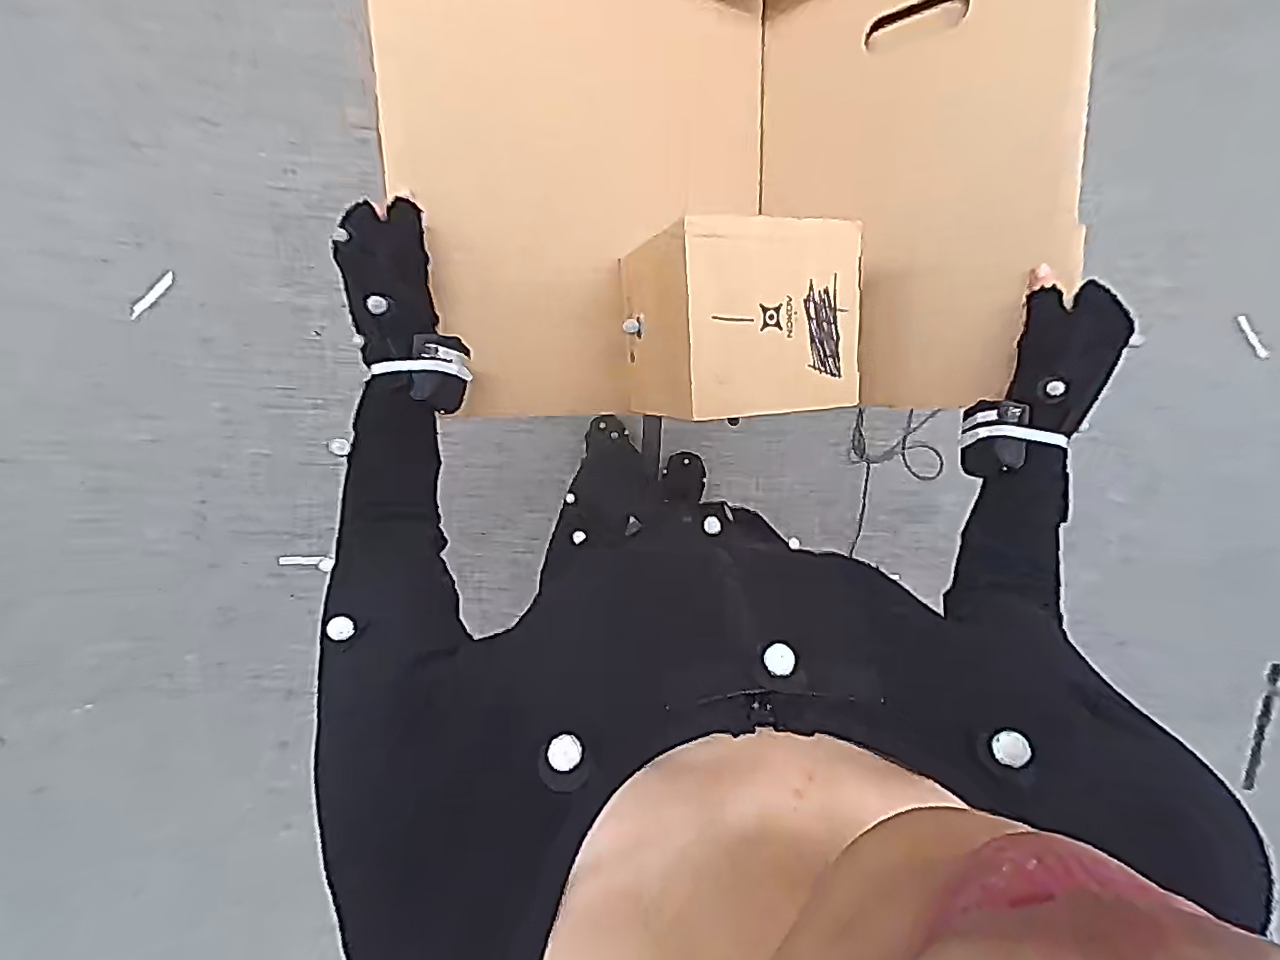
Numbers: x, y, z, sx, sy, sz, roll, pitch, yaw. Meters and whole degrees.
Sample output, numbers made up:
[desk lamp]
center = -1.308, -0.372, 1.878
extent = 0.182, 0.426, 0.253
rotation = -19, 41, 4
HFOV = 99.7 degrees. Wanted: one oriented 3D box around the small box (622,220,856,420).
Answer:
[small box]
center = 0.092, -0.154, 0.554
extent = 0.179, 0.176, 0.168
rotation = -7, 101, -18
